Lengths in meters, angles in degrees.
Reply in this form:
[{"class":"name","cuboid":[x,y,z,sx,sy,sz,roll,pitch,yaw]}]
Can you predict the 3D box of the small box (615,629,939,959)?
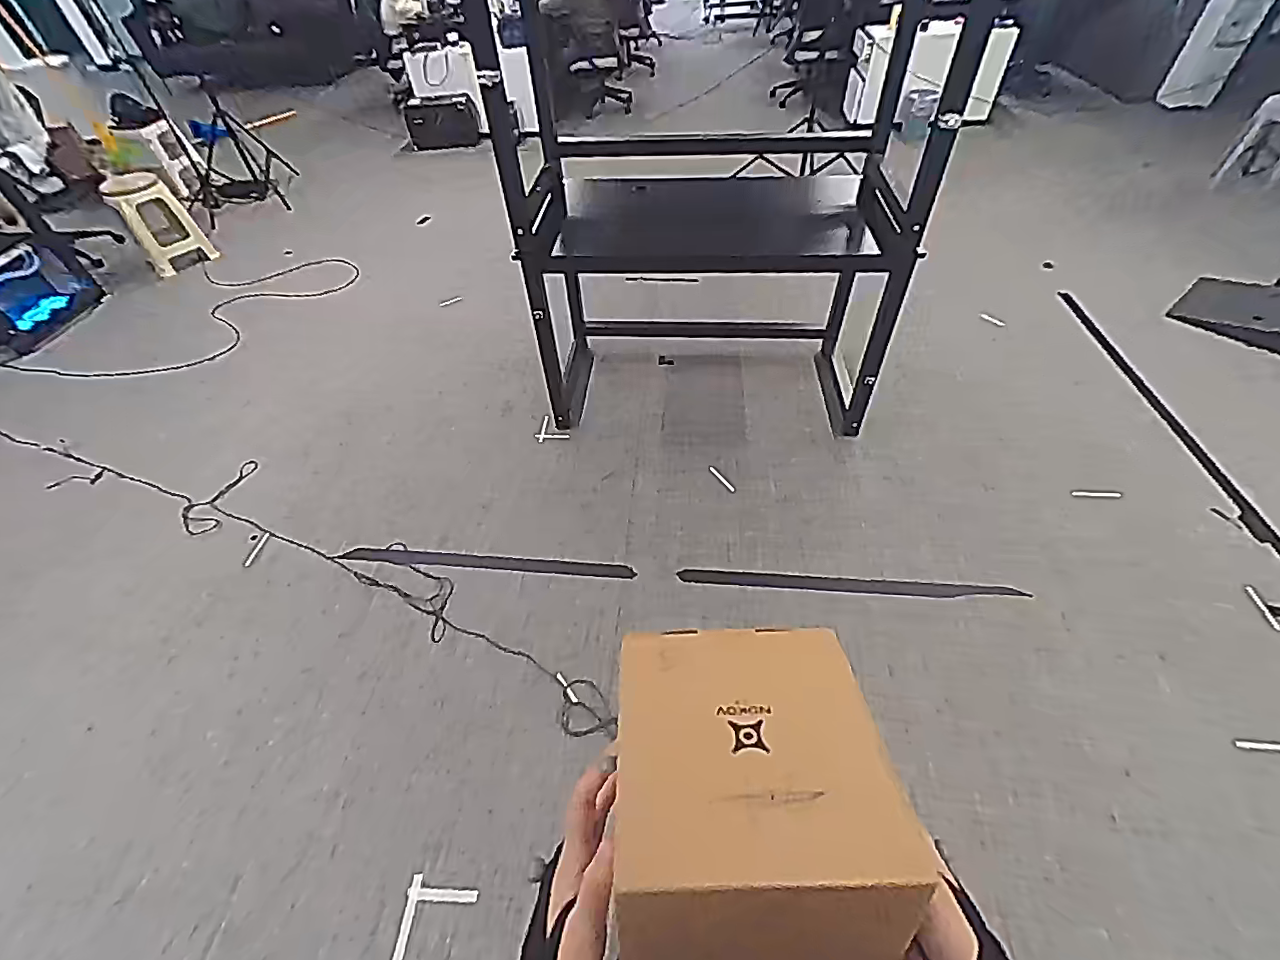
[{"class":"small box","cuboid":[0.070,0.229,0.381,0.168,0.176,0.179,-2,30,0]}]
